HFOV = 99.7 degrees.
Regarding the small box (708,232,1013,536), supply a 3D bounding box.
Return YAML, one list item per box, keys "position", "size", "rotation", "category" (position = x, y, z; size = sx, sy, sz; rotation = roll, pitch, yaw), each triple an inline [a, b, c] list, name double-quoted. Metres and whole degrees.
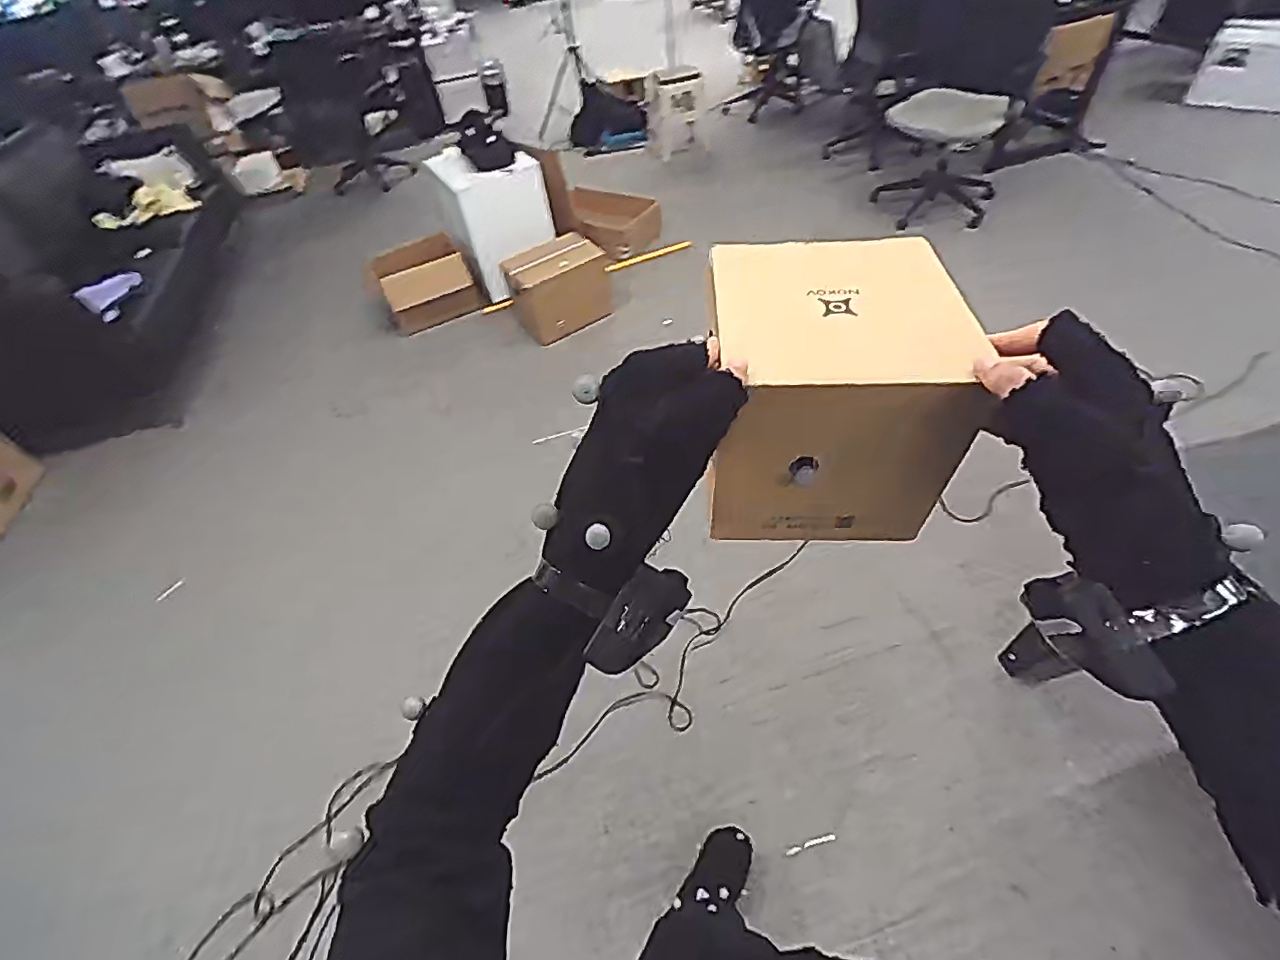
- position: [0.140, -0.070, 0.424]
  size: [0.168, 0.176, 0.179]
  rotation: [1, 49, 4]
  category: "small box"
